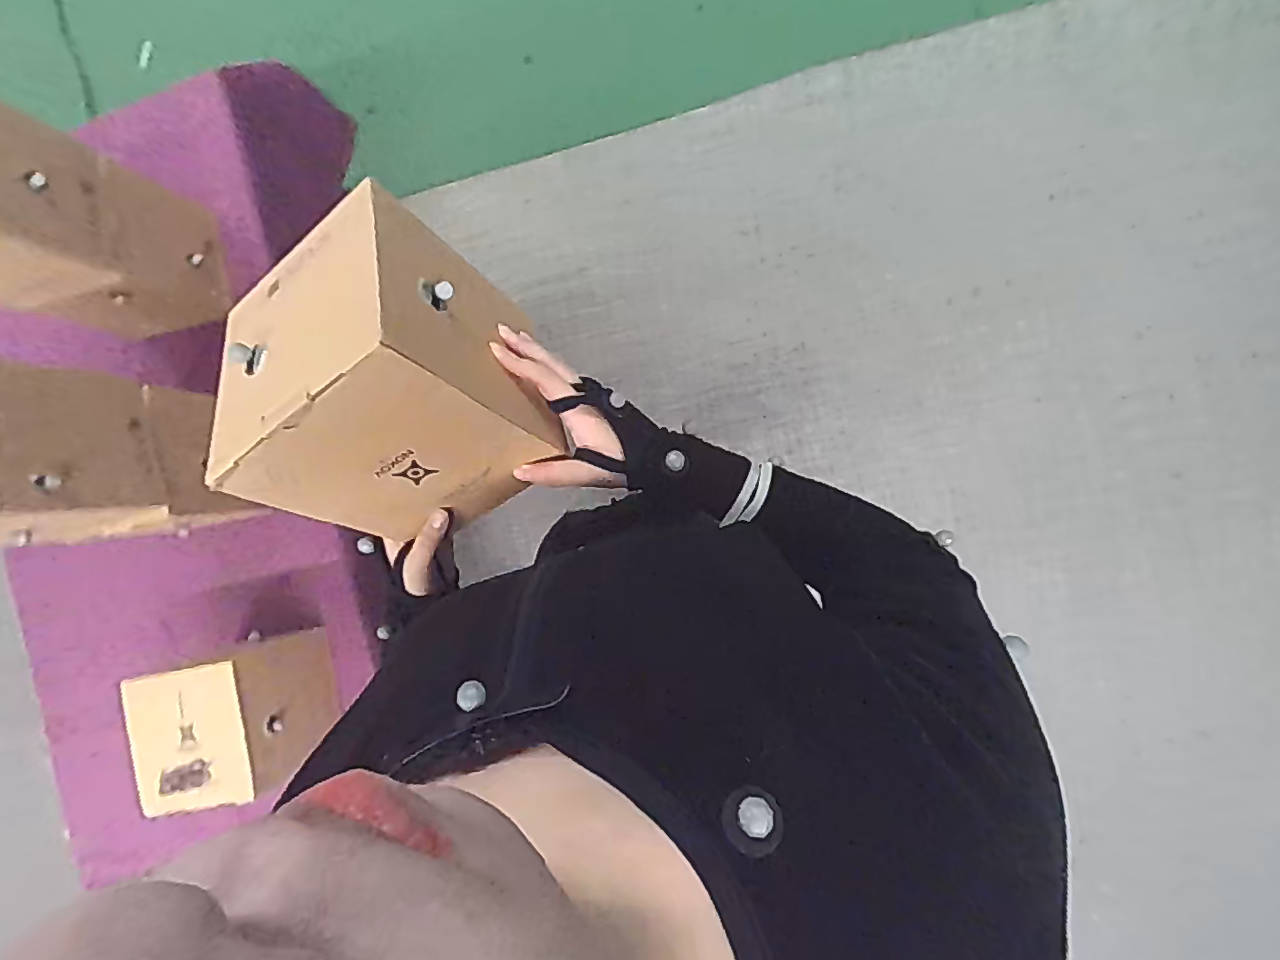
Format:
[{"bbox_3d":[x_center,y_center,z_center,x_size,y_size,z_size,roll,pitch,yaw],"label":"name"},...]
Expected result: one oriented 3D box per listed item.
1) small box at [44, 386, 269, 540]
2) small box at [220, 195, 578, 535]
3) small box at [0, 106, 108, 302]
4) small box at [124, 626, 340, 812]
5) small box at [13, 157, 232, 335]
[{"bbox_3d":[-0.674,-0.023,0.775,0.168,0.176,0.179,-11,89,7],"label":"small box"},{"bbox_3d":[-0.177,-0.085,0.422,0.168,0.179,0.176,-28,58,17],"label":"small box"},{"bbox_3d":[-0.771,-0.326,0.623,0.179,0.176,0.168,-12,88,7],"label":"small box"},{"bbox_3d":[-0.554,0.323,0.757,0.168,0.176,0.179,-12,87,7],"label":"small box"},{"bbox_3d":[-0.750,-0.324,0.787,0.179,0.176,0.168,-10,89,7],"label":"small box"}]
